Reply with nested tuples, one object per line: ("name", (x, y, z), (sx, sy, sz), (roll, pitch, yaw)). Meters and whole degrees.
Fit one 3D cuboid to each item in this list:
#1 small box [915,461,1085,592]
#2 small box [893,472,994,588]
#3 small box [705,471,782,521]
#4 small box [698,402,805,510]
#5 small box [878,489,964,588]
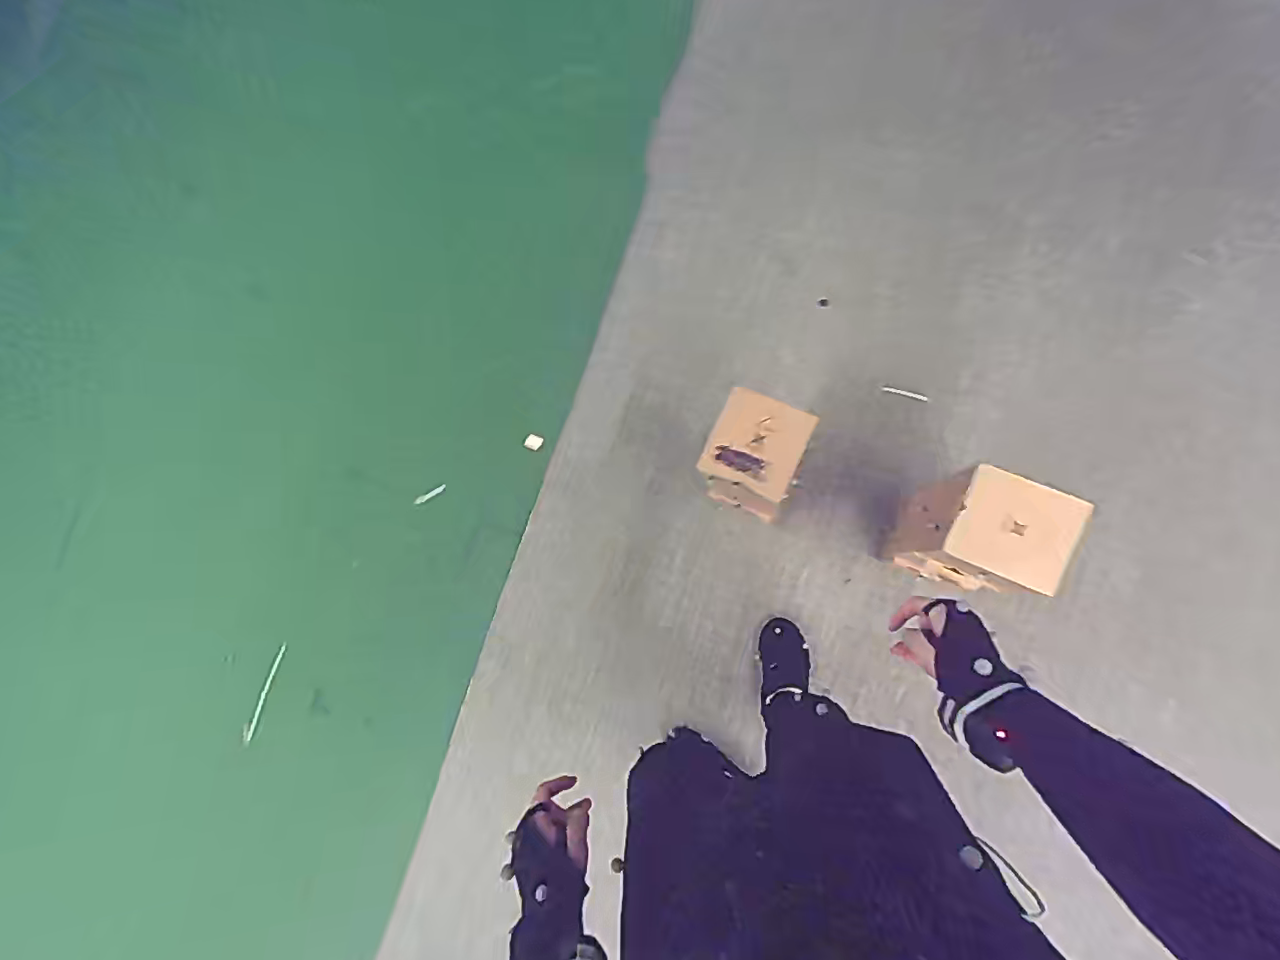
("small box", (0.620, 0.085, 0.959), (0.179, 0.176, 0.168), (25, 89, 15))
("small box", (0.649, 0.106, 1.118), (0.168, 0.176, 0.179), (25, 88, 16))
("small box", (0.283, -0.005, 1.387), (0.168, 0.176, 0.179), (24, 87, 14))
("small box", (0.255, -0.045, 1.240), (0.168, 0.176, 0.179), (-35, 75, 8))
("small box", (0.681, 0.138, 1.277), (0.168, 0.176, 0.179), (21, 88, 14))
